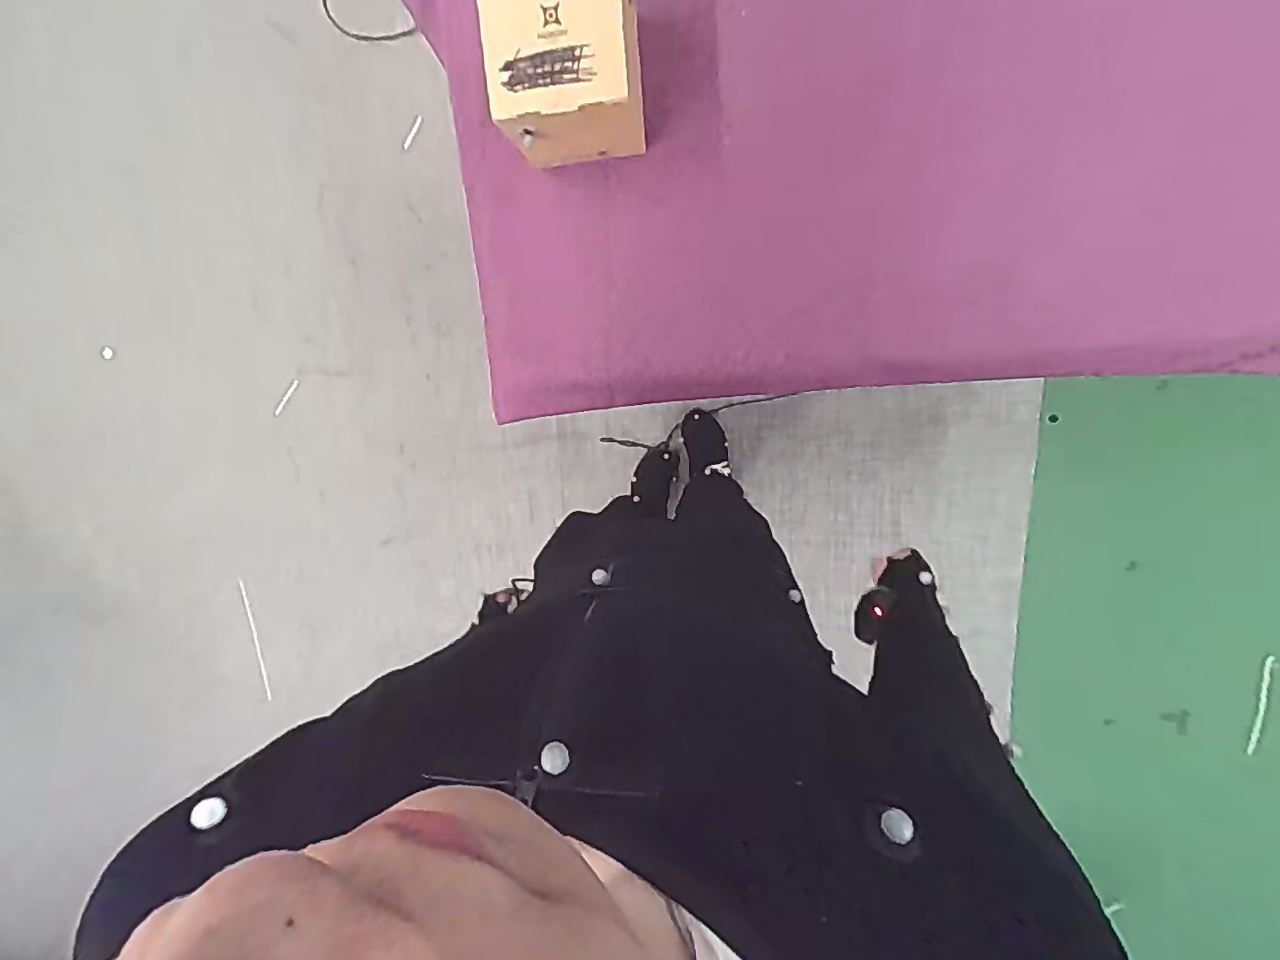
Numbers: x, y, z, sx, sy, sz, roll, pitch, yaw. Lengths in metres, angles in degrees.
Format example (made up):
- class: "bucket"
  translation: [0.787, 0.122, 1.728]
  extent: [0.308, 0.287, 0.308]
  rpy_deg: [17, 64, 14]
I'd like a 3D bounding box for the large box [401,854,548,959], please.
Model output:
- class: "large box"
  translation: [-0.590, 1.629, 1.911]
  extent: [0.408, 0.320, 0.320]
  rpy_deg: [21, 105, 1]
